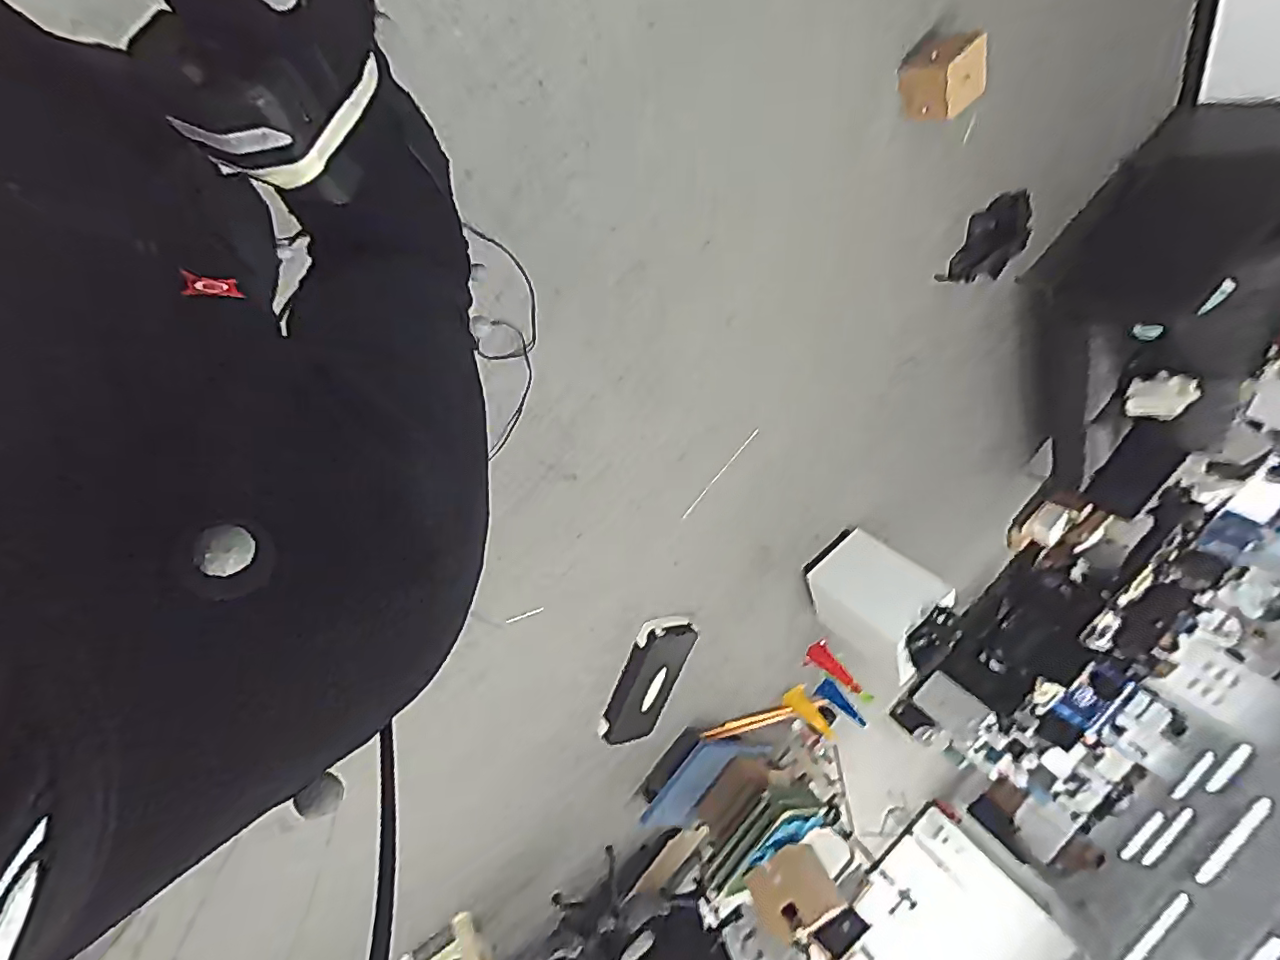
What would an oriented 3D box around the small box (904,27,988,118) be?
[{"bbox_3d":[0.950,-1.267,1.691,0.179,0.176,0.168,-45,137,-5],"label":"small box"}]
